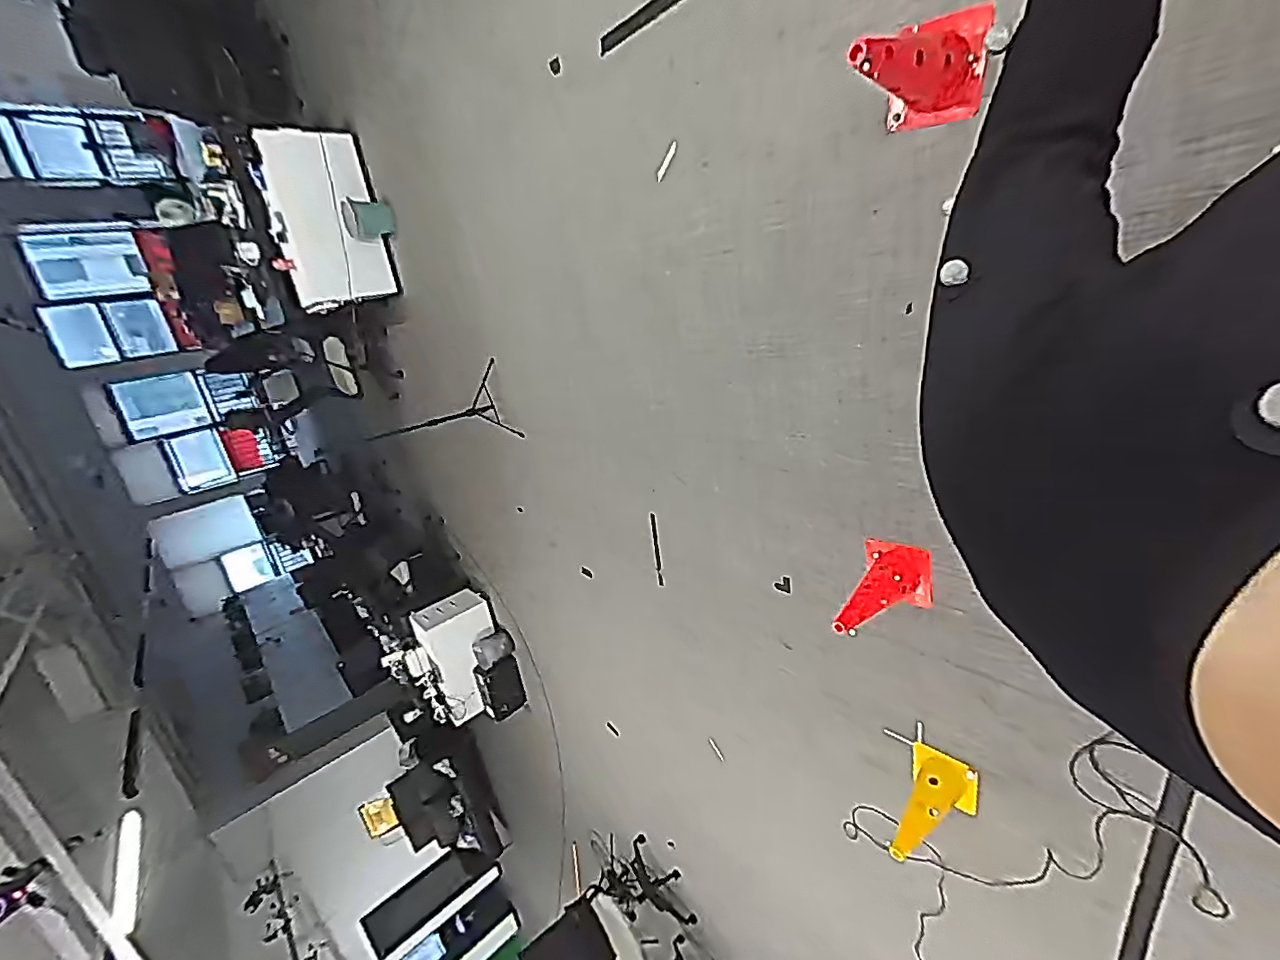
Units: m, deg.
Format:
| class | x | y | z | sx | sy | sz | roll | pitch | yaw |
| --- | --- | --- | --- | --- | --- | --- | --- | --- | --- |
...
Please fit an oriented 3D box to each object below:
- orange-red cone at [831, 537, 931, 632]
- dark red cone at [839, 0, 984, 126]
| class | x | y | z | sx | sy | sz | roll | pitch | yaw |
| --- | --- | --- | --- | --- | --- | --- | --- | --- | --- |
| orange-red cone | 0.675 | 0.341 | 1.585 | 0.198 | 0.360 | 0.199 | 11 | 120 | 50 |
| dark red cone | 0.510 | -0.845 | 1.078 | 0.201 | 0.394 | 0.202 | 20 | 125 | 43 |
